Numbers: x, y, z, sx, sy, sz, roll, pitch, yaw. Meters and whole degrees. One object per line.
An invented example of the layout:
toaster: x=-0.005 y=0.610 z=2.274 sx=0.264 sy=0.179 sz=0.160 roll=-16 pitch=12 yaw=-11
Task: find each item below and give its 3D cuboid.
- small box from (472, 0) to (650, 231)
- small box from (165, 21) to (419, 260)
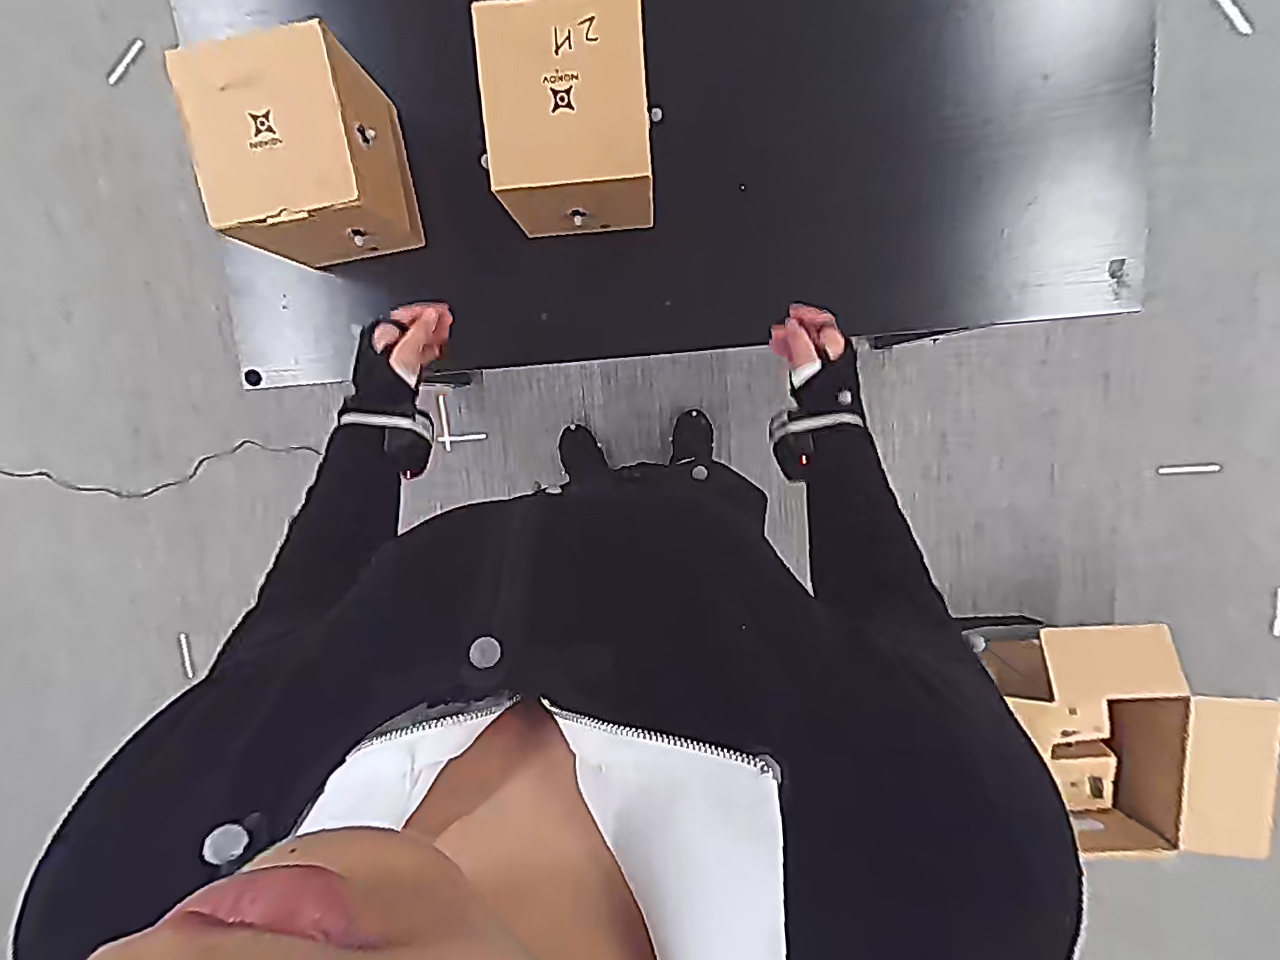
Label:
small box: x=-0.075 y=-0.395 z=0.615 sx=0.168 sy=0.176 sz=0.179 roll=-3 pitch=98 yaw=2
small box: x=-0.381 y=-0.370 z=0.630 sx=0.168 sy=0.176 sz=0.179 roll=-10 pitch=97 yaw=2
